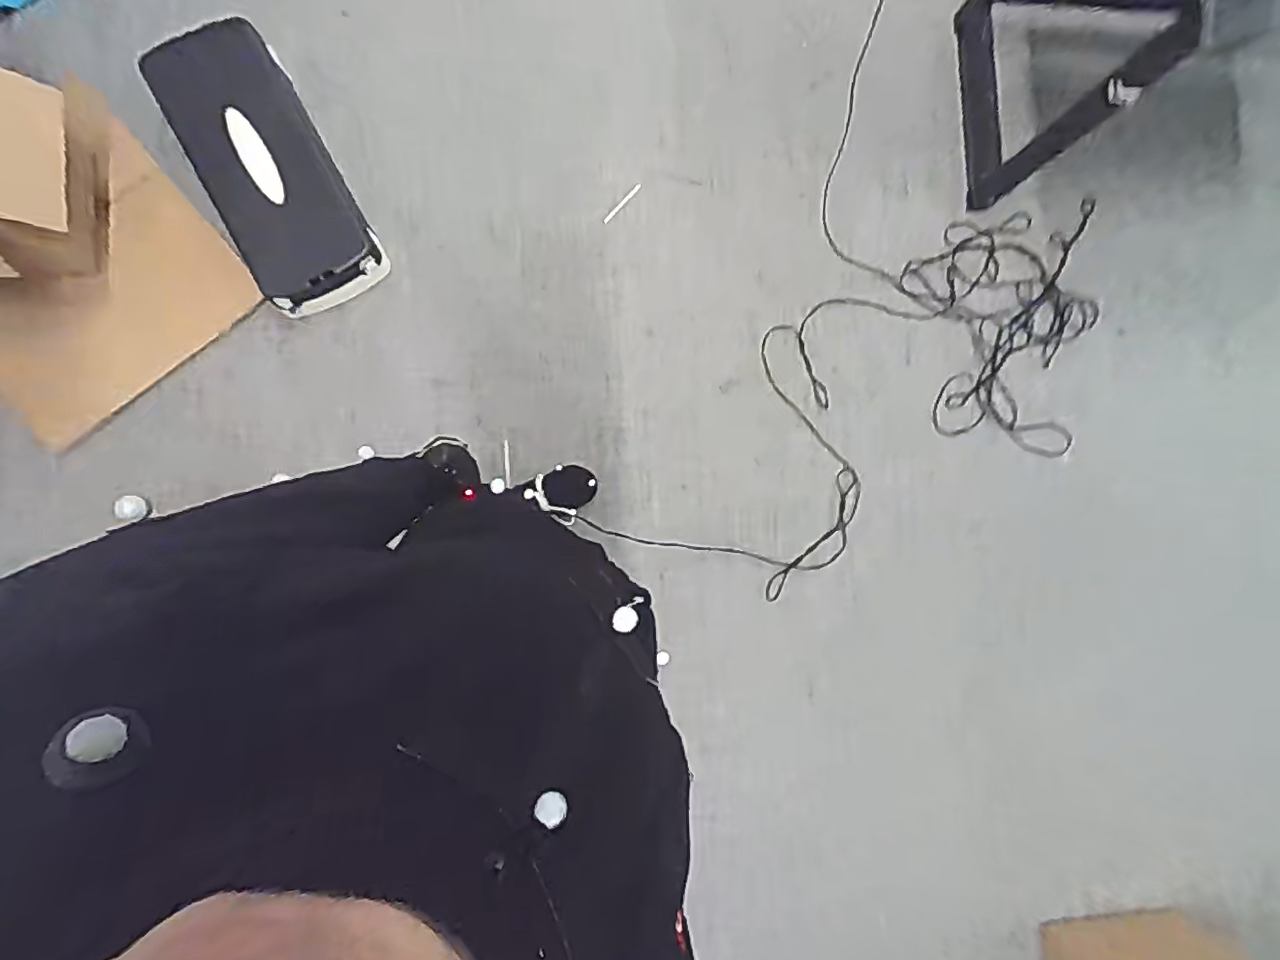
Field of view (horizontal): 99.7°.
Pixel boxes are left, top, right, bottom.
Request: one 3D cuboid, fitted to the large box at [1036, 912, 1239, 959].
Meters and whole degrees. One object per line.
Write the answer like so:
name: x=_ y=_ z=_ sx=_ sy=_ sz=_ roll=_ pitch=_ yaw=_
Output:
large box: x=1.262 y=1.318 z=1.291 sx=0.408 sy=0.320 sz=0.320 roll=-2 pitch=86 yaw=-4
